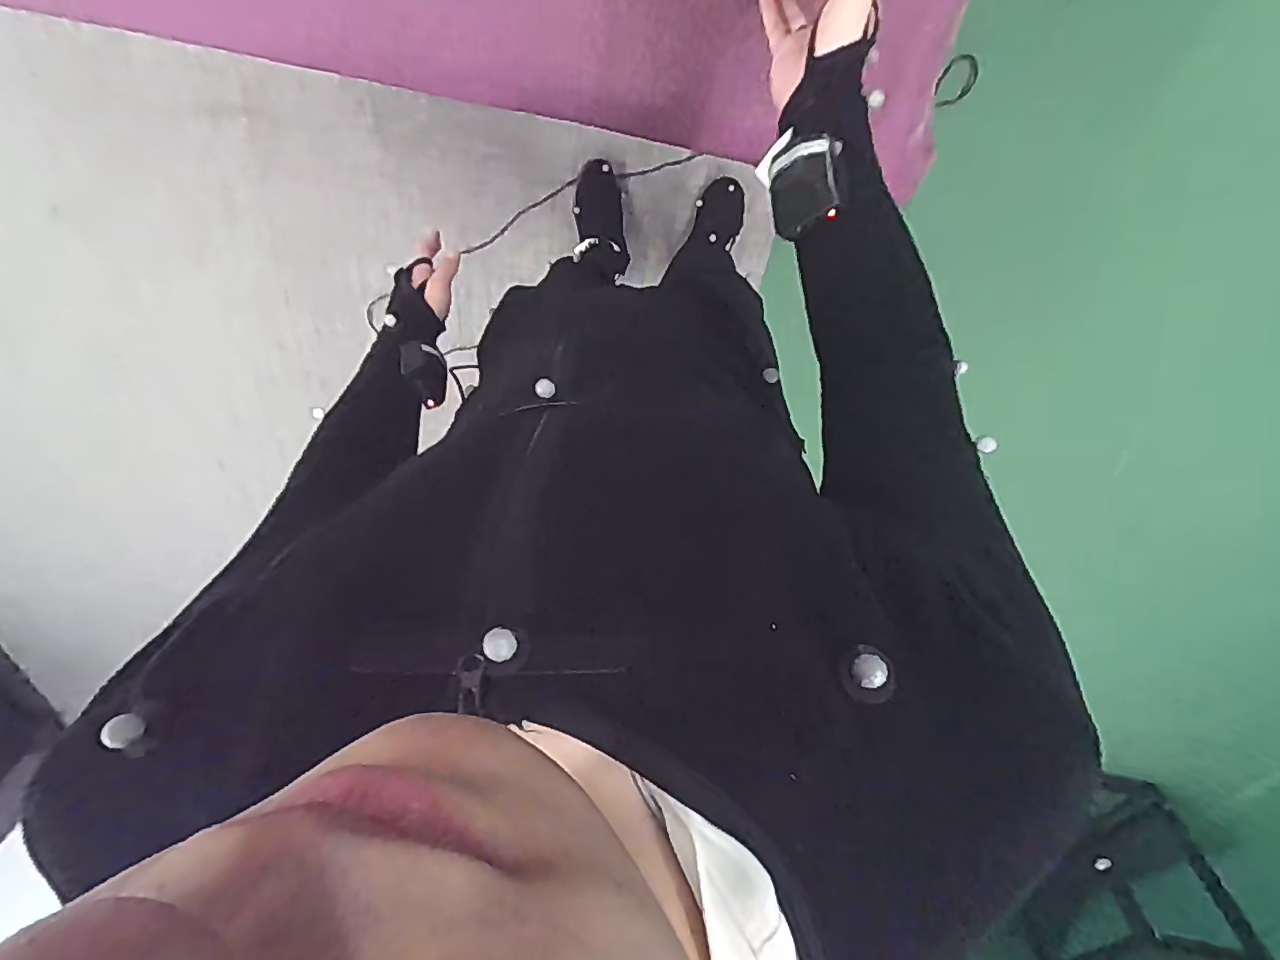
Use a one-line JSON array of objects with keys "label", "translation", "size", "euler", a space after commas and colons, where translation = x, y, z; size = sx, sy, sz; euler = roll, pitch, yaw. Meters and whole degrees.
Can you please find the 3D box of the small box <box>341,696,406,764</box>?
[{"label": "small box", "translation": [-1.016, 0.960, 2.080], "size": [0.179, 0.176, 0.168], "euler": [13, 125, -3]}]
